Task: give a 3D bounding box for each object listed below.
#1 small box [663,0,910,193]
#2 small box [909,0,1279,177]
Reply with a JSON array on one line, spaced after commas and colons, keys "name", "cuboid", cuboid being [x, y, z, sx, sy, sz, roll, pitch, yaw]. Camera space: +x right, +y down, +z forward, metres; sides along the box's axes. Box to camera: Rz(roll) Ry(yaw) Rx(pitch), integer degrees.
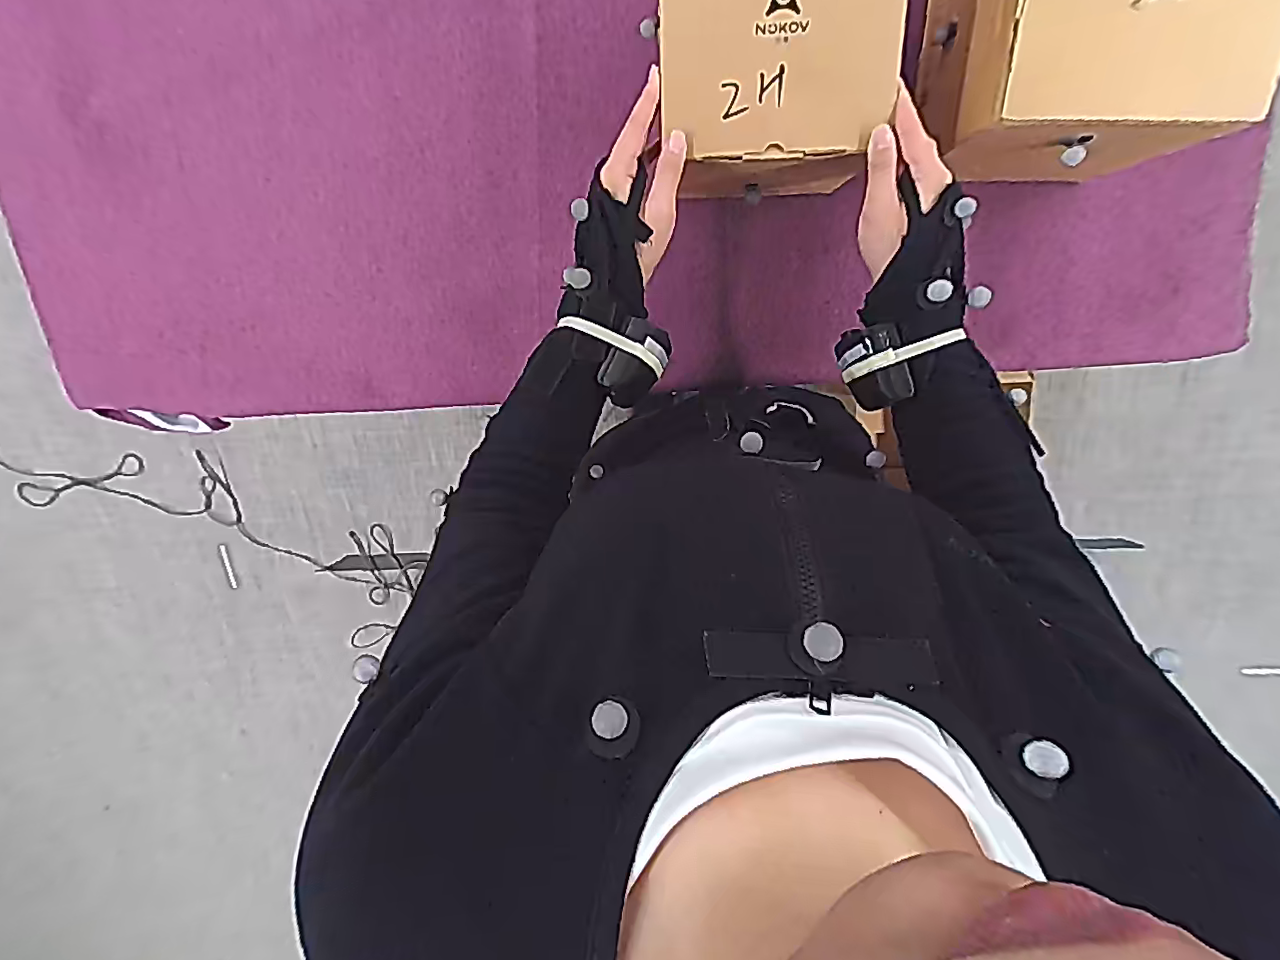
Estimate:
[{"name": "small box", "cuboid": [0.103, -0.347, 0.438, 0.168, 0.176, 0.179, 1, 109, 5]}, {"name": "small box", "cuboid": [0.344, -0.350, 0.424, 0.179, 0.176, 0.168, 3, 107, 4]}]
